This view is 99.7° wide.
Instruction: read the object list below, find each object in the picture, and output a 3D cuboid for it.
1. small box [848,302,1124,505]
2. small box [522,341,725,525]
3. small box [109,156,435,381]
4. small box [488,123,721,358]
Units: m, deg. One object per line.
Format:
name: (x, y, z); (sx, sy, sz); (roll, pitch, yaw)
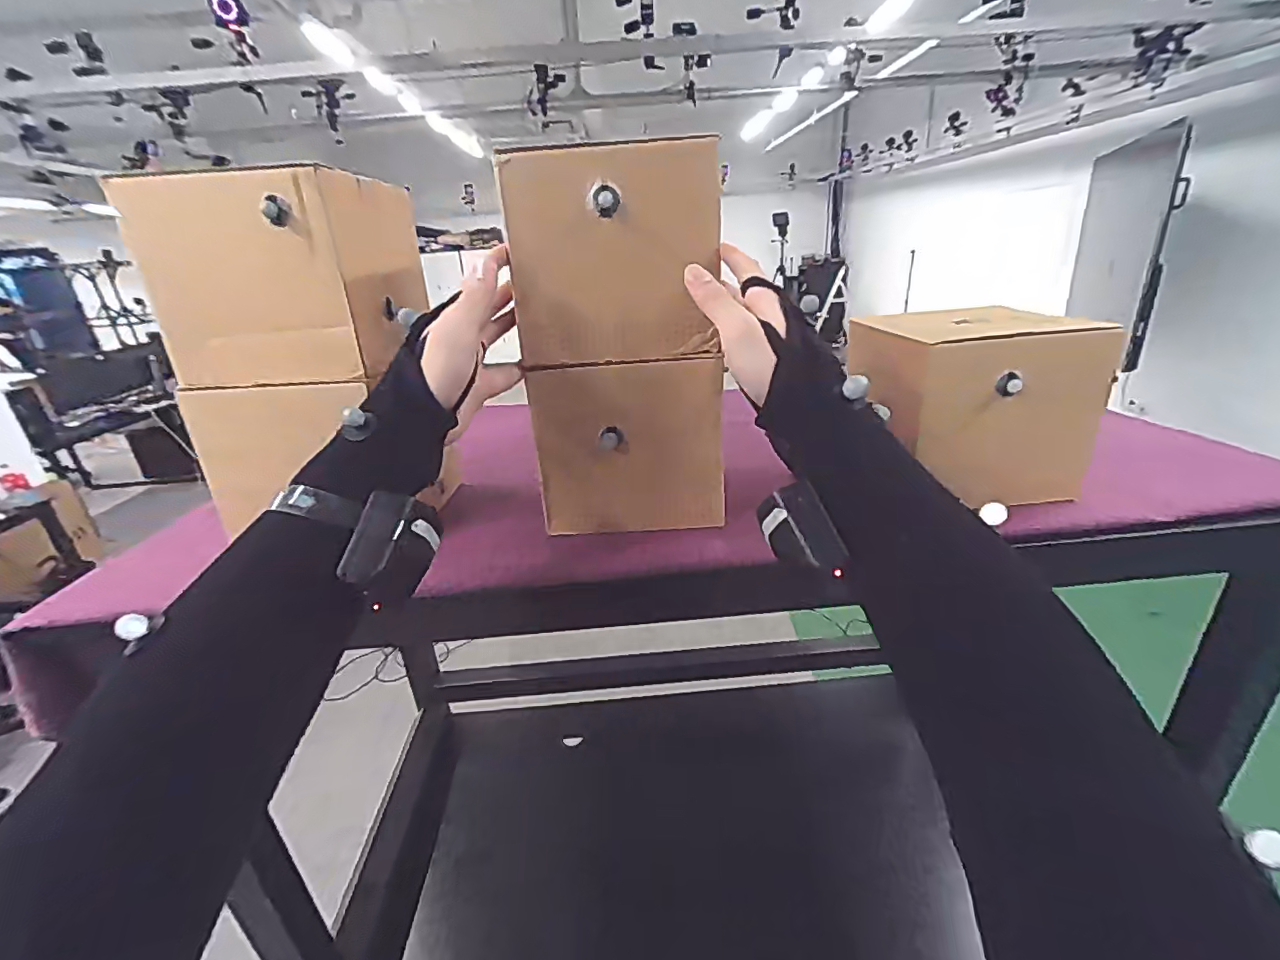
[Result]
small box: (0.328, -0.082, 0.556); (0.179, 0.176, 0.168); (-5, 23, -1)
small box: (-0.008, -0.060, 0.565); (0.179, 0.176, 0.168); (-3, 22, 3)
small box: (-0.322, -0.193, 0.517); (0.179, 0.176, 0.168); (-2, 22, 3)
small box: (-0.025, -0.210, 0.505); (0.179, 0.176, 0.168); (-5, 23, -1)
